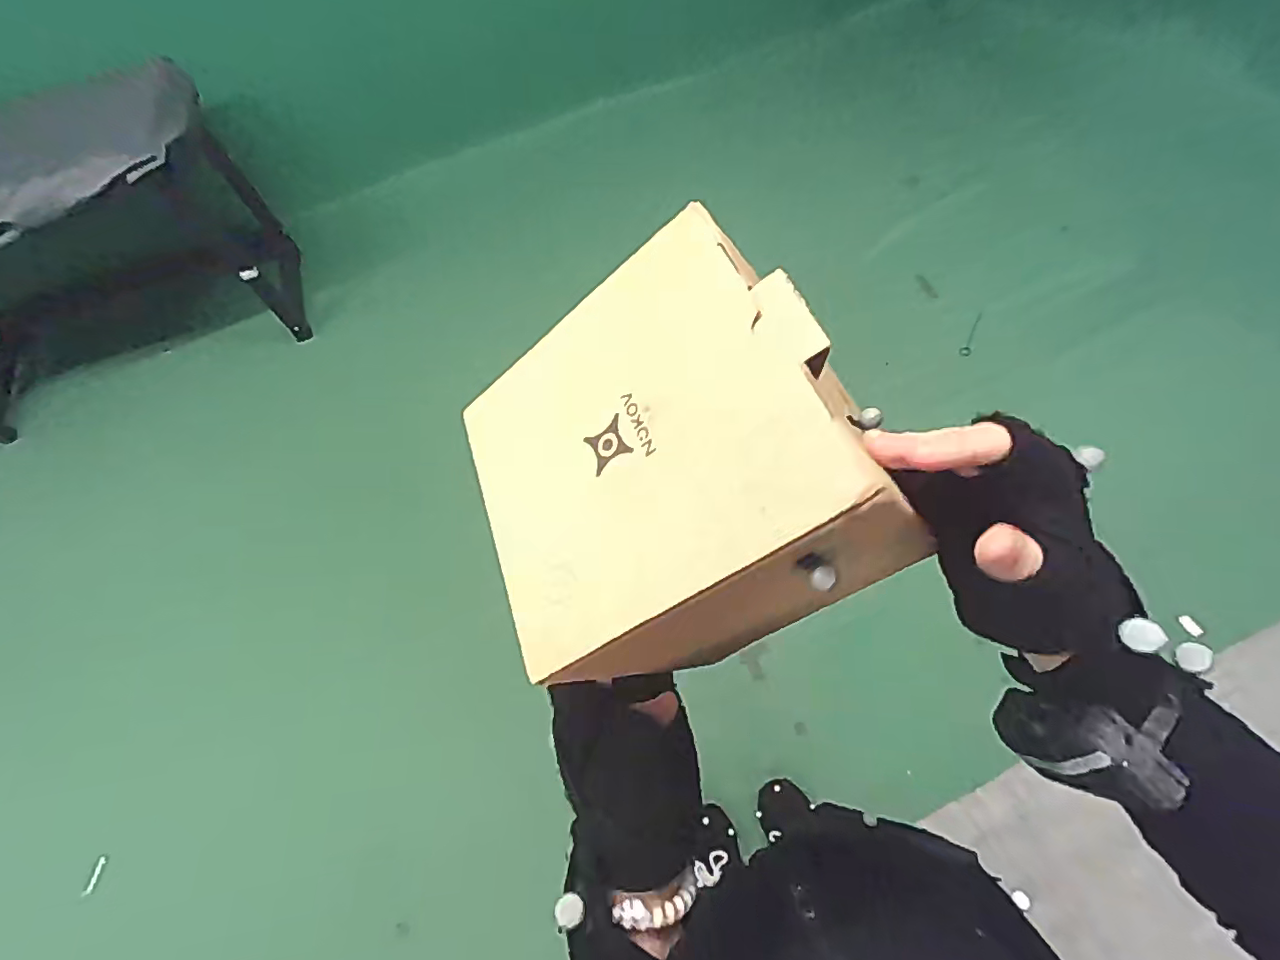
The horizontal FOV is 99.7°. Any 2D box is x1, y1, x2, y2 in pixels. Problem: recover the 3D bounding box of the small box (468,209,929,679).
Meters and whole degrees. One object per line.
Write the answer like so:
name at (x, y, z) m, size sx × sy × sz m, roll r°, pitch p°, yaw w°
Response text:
small box at (0.033, 0.000, 0.313) m, size 0.179 × 0.176 × 0.168 m, roll -35°, pitch 60°, yaw 25°
